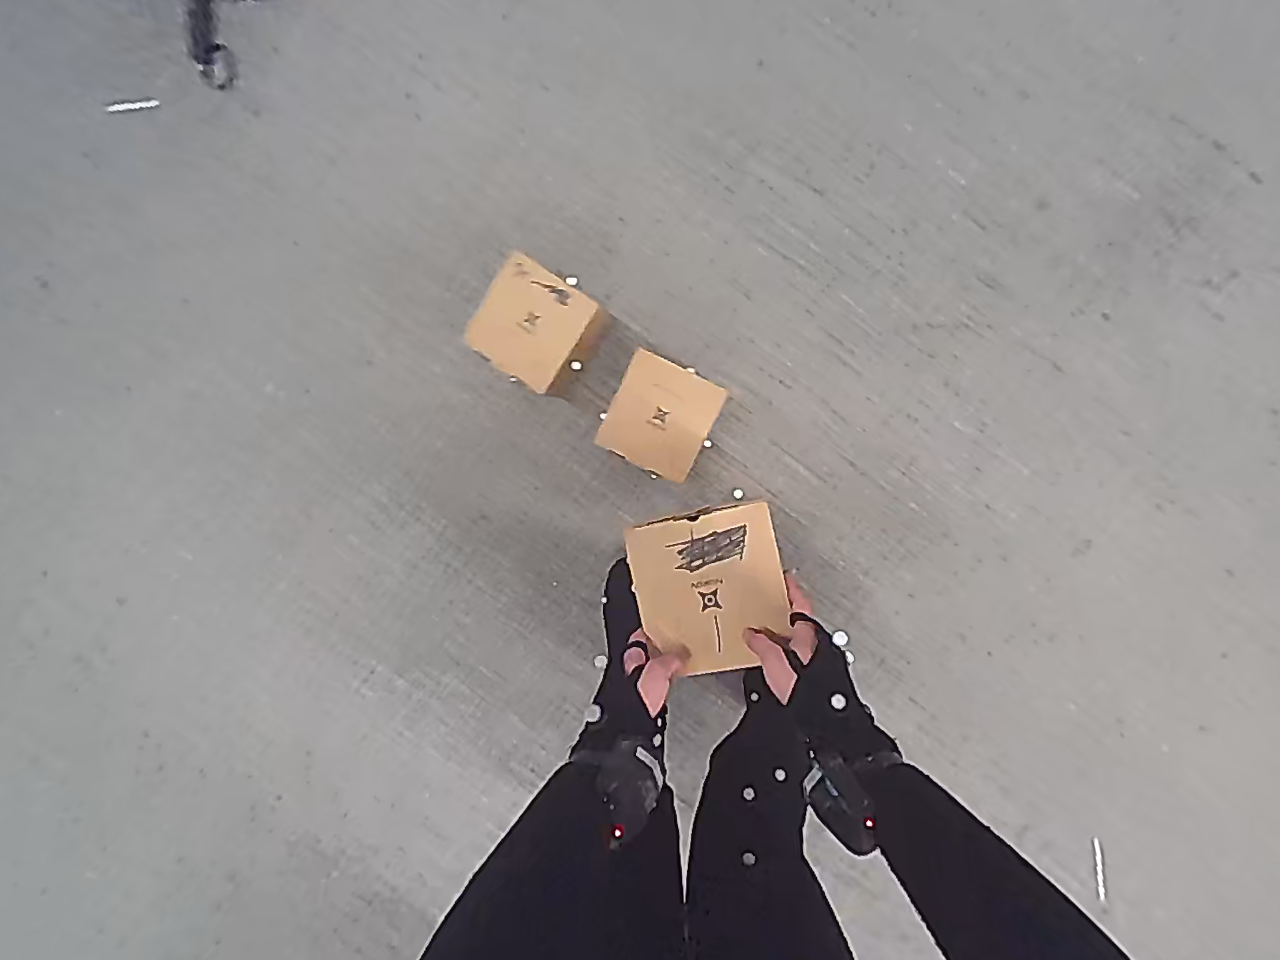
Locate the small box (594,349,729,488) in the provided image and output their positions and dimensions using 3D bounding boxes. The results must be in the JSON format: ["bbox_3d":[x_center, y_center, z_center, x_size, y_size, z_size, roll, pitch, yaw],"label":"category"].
[{"bbox_3d":[0.039,-0.104,0.950,0.168,0.176,0.179,26,96,0],"label":"small box"}]

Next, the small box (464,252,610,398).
[{"bbox_3d":[-0.168,-0.257,0.949,0.168,0.176,0.179,35,98,0],"label":"small box"}]

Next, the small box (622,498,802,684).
[{"bbox_3d":[0.089,0.123,0.653,0.168,0.176,0.179,-13,86,12],"label":"small box"}]
